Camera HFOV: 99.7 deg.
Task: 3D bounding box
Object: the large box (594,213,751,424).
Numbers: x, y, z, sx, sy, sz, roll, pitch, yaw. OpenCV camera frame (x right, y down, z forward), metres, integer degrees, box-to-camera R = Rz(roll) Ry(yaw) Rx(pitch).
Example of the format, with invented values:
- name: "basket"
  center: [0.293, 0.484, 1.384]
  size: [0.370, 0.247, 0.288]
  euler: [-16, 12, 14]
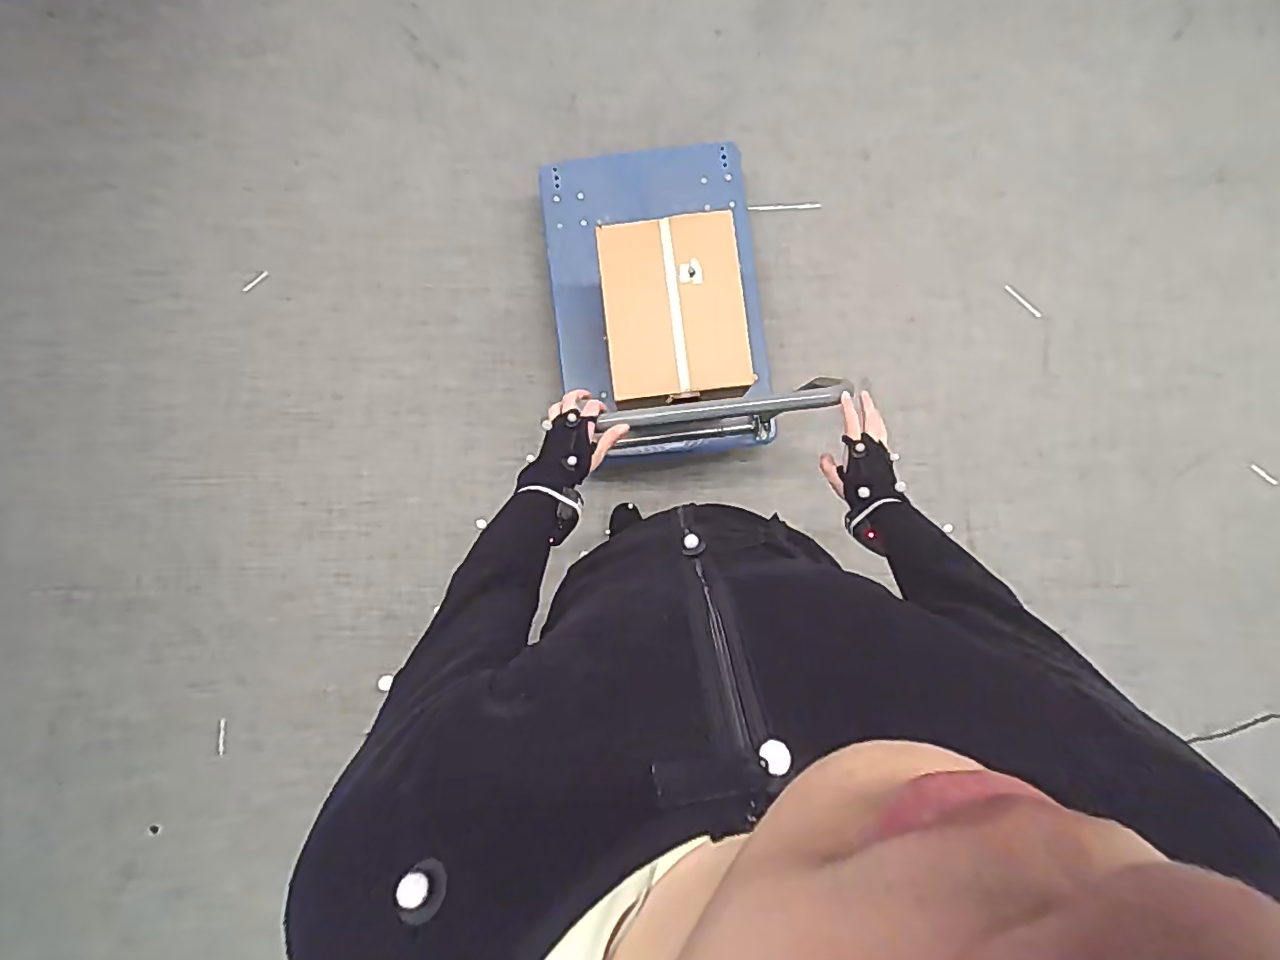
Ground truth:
- name: "large box"
  center: [0.077, -0.380, 1.363]
  size: [0.320, 0.320, 0.408]
  euler: [-7, 86, 0]
